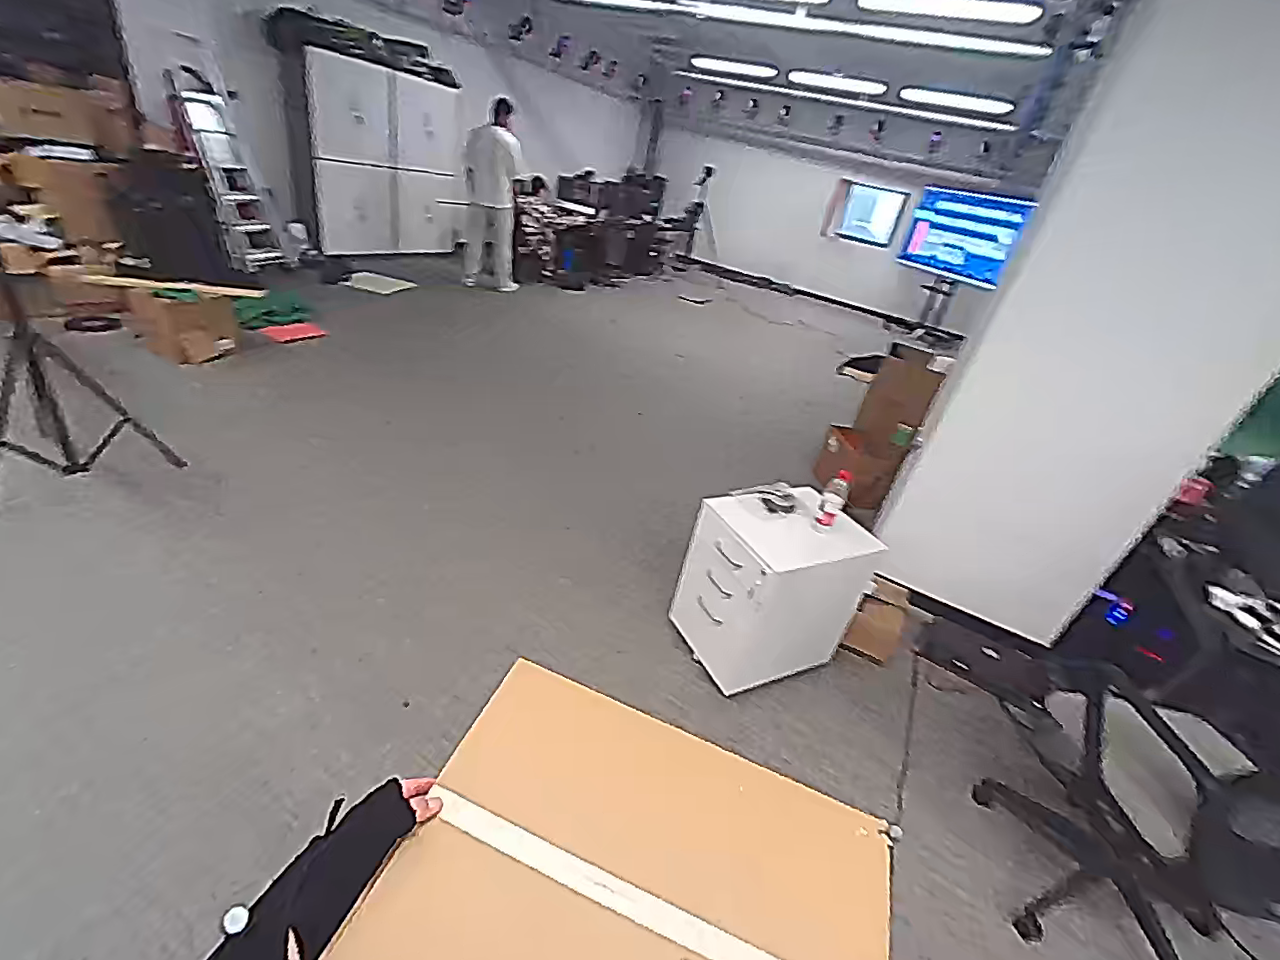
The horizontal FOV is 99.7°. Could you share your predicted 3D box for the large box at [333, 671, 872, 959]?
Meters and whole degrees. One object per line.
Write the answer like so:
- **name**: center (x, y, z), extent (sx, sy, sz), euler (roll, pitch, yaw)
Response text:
- **large box**: center (-0.033, 0.471, 0.541), extent (0.408, 0.320, 0.320), euler (20, 39, 9)
